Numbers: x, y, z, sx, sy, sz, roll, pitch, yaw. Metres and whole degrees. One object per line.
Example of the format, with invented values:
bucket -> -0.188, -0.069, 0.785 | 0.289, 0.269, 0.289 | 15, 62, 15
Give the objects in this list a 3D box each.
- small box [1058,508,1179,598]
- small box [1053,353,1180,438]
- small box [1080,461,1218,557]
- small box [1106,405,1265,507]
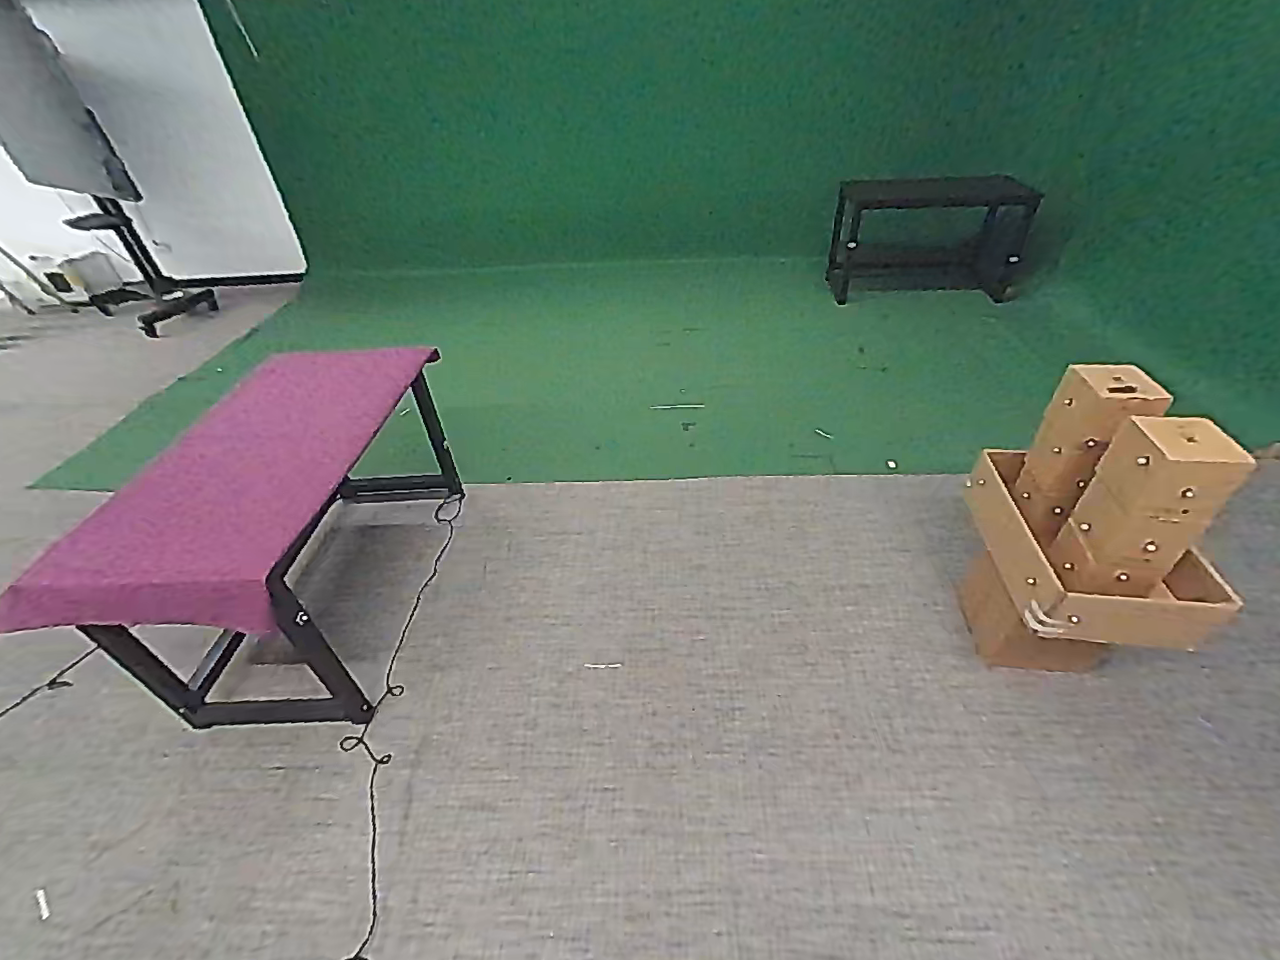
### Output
small box -> 1.262, 0.196, 1.449 | 0.179, 0.176, 0.168 | 5, 42, 13
small box -> 1.253, -0.222, 1.438 | 0.168, 0.176, 0.179 | 2, 40, 9
small box -> 1.249, 0.072, 1.345 | 0.168, 0.176, 0.179 | 5, 42, 12
small box -> 1.230, -0.054, 1.239 | 0.168, 0.176, 0.179 | 3, 41, 10
